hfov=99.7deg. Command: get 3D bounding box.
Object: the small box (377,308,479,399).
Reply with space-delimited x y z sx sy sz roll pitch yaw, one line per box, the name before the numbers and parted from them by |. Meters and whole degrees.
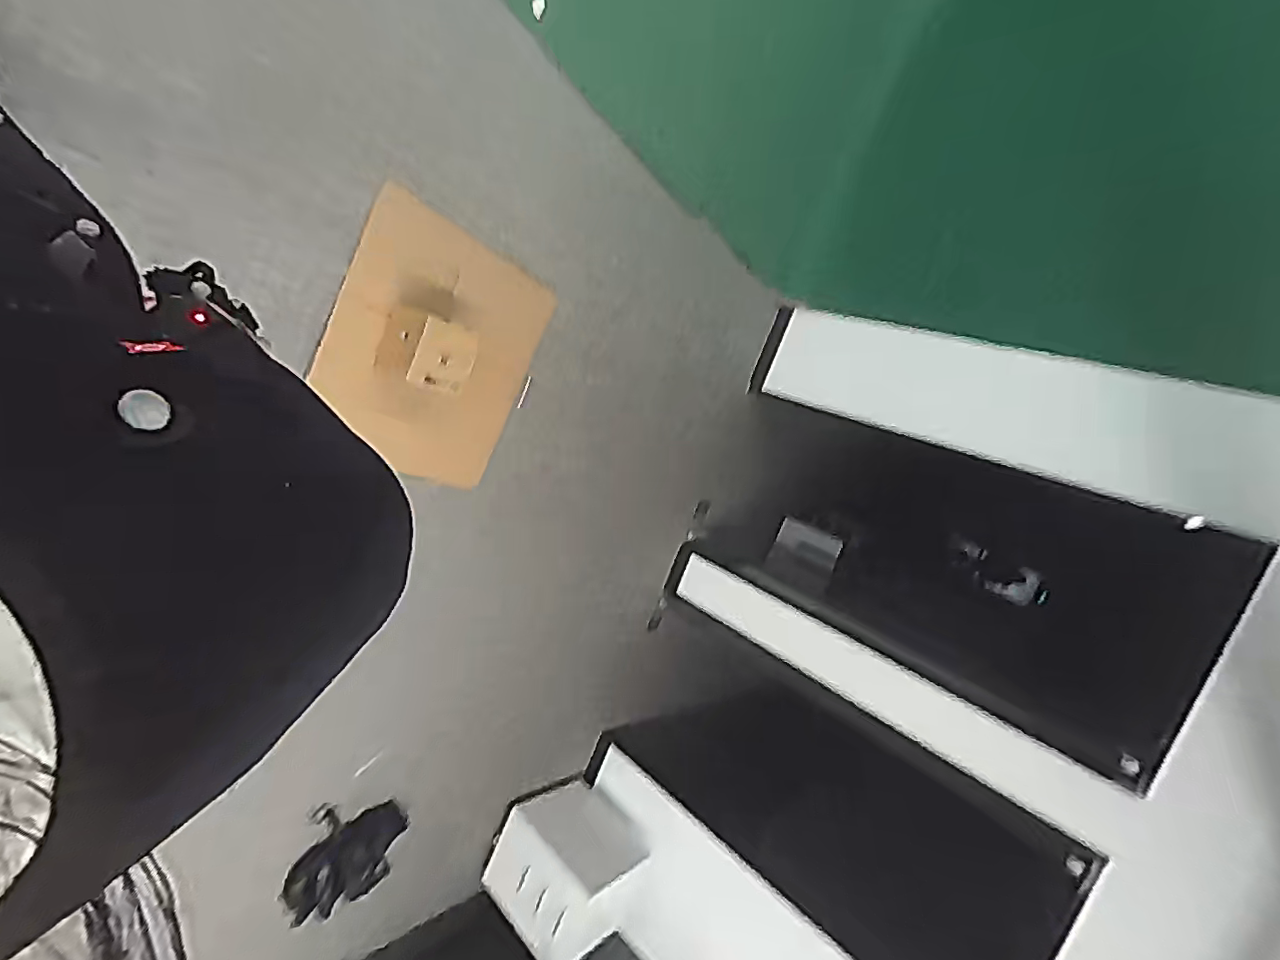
small box | -0.558 -0.333 1.416 0.168 0.176 0.179 11 101 -56
